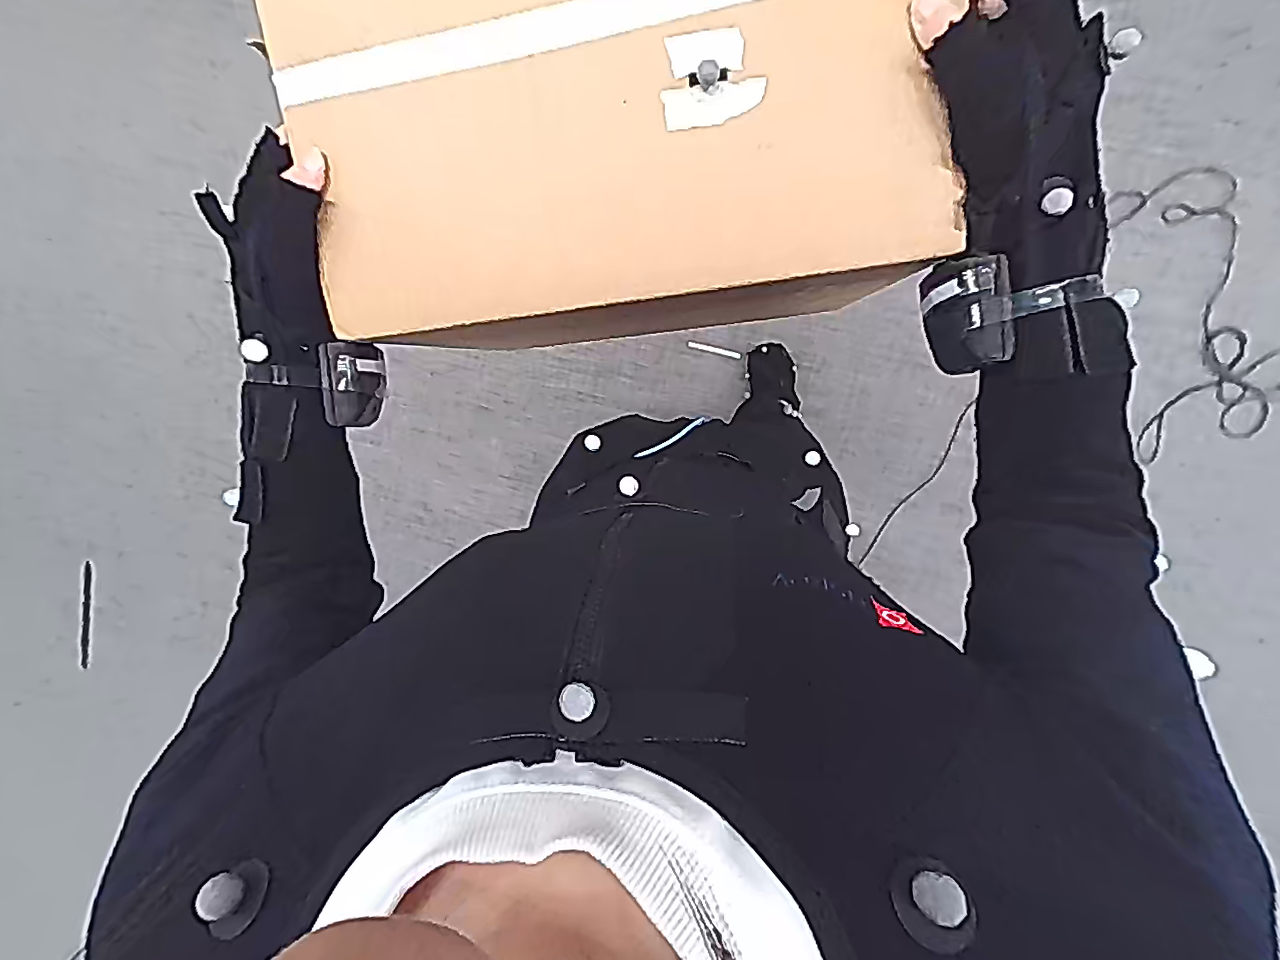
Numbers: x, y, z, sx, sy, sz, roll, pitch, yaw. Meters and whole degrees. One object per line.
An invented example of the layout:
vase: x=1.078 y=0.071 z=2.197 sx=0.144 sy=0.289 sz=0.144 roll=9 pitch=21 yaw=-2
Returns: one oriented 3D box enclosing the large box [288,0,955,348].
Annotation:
large box: x=-0.008 y=-0.305 z=0.473 sx=0.408 sy=0.320 sz=0.320 roll=-6 pitch=102 yaw=8
